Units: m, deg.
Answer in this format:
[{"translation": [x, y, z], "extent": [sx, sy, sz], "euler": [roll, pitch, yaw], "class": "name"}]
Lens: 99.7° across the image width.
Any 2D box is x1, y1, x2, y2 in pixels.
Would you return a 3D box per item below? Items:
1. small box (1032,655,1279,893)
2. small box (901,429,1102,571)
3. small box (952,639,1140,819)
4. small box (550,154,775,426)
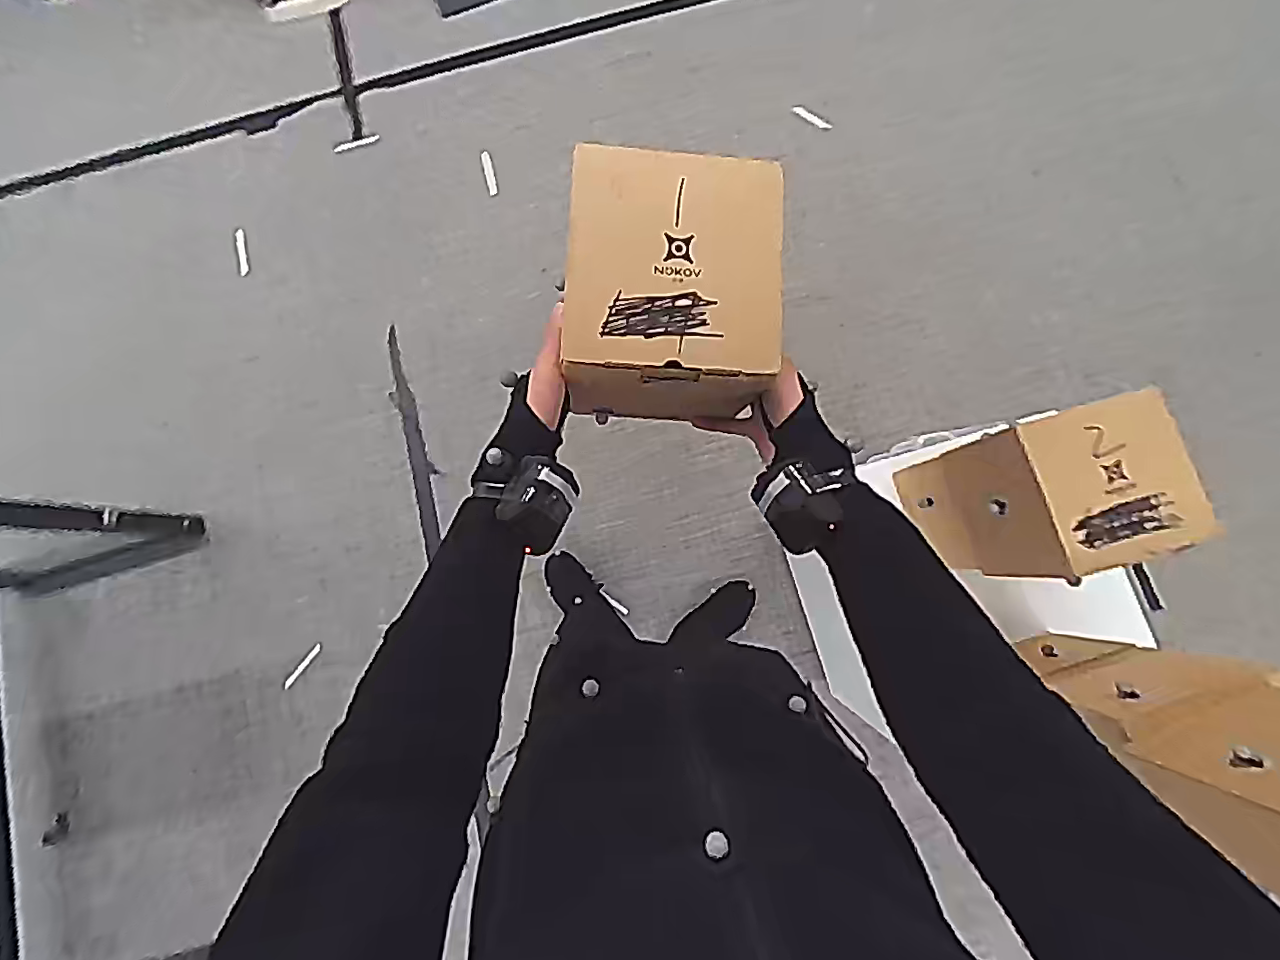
[{"translation": [0.587, 0.309, 0.604], "extent": [0.179, 0.176, 0.168], "euler": [-17, 81, -1], "class": "small box"}, {"translation": [0.523, 0.040, 0.818], "extent": [0.179, 0.176, 0.168], "euler": [-15, 81, -1], "class": "small box"}, {"translation": [0.592, 0.336, 0.767], "extent": [0.179, 0.176, 0.168], "euler": [-18, 80, -1], "class": "small box"}, {"translation": [0.014, -0.149, 0.484], "extent": [0.168, 0.176, 0.179], "euler": [2, 83, -5], "class": "small box"}]
